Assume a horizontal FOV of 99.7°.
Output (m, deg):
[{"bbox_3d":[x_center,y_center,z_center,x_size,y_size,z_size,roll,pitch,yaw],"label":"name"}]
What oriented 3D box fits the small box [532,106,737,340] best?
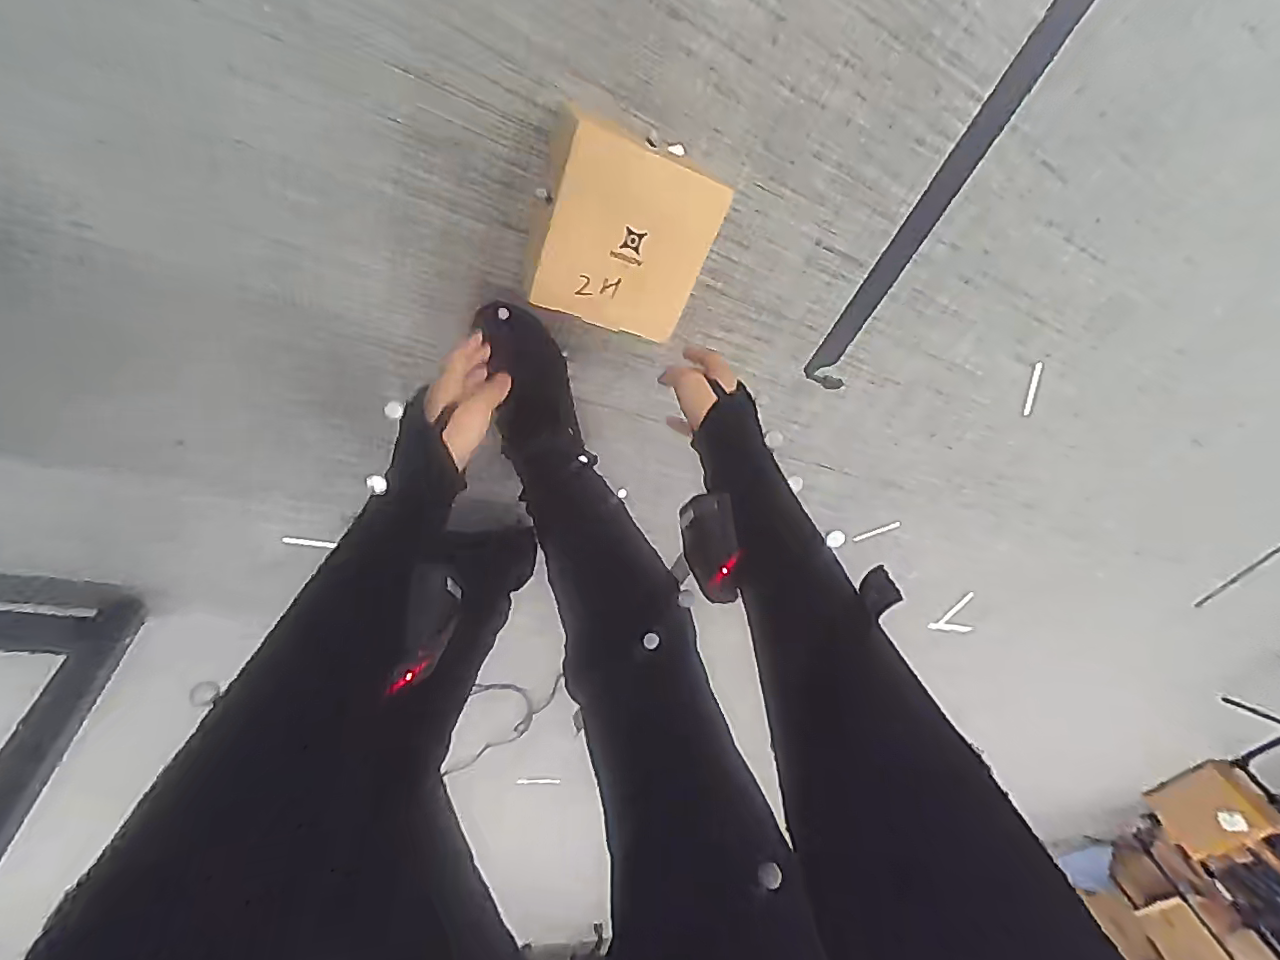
[{"bbox_3d":[-0.022,-0.291,0.611,0.168,0.176,0.179,11,126,-22],"label":"small box"}]
